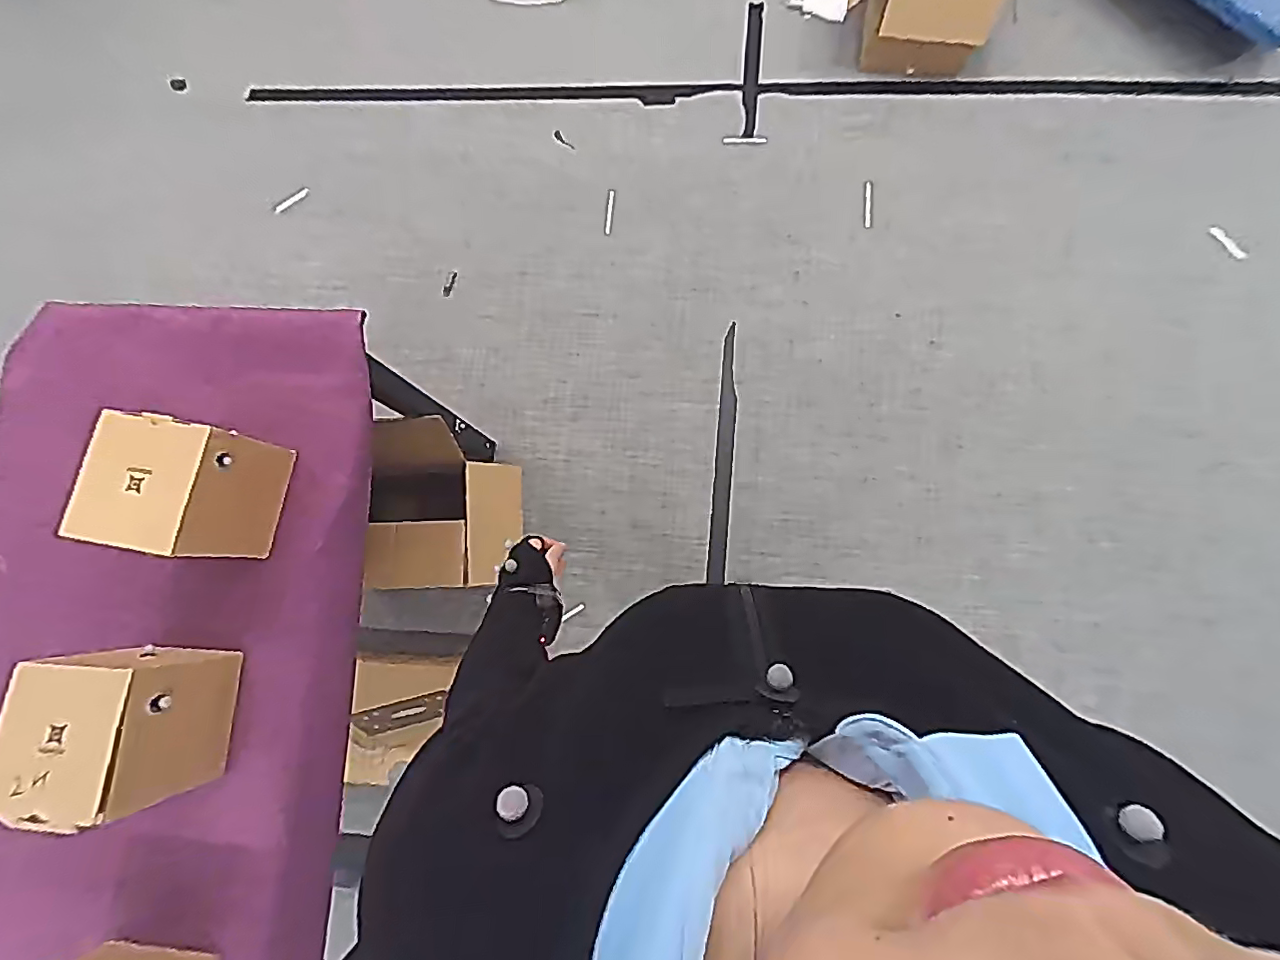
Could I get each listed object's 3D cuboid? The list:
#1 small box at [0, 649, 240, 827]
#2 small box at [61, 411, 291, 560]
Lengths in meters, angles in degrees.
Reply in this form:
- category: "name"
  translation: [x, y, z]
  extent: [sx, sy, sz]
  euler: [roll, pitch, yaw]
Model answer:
- category: "small box"
  translation: [-0.686, 0.328, 0.726]
  extent: [0.168, 0.176, 0.179]
  euler: [1, 80, 7]
- category: "small box"
  translation: [-0.649, 0.017, 0.781]
  extent: [0.168, 0.176, 0.179]
  euler: [9, 80, 6]
